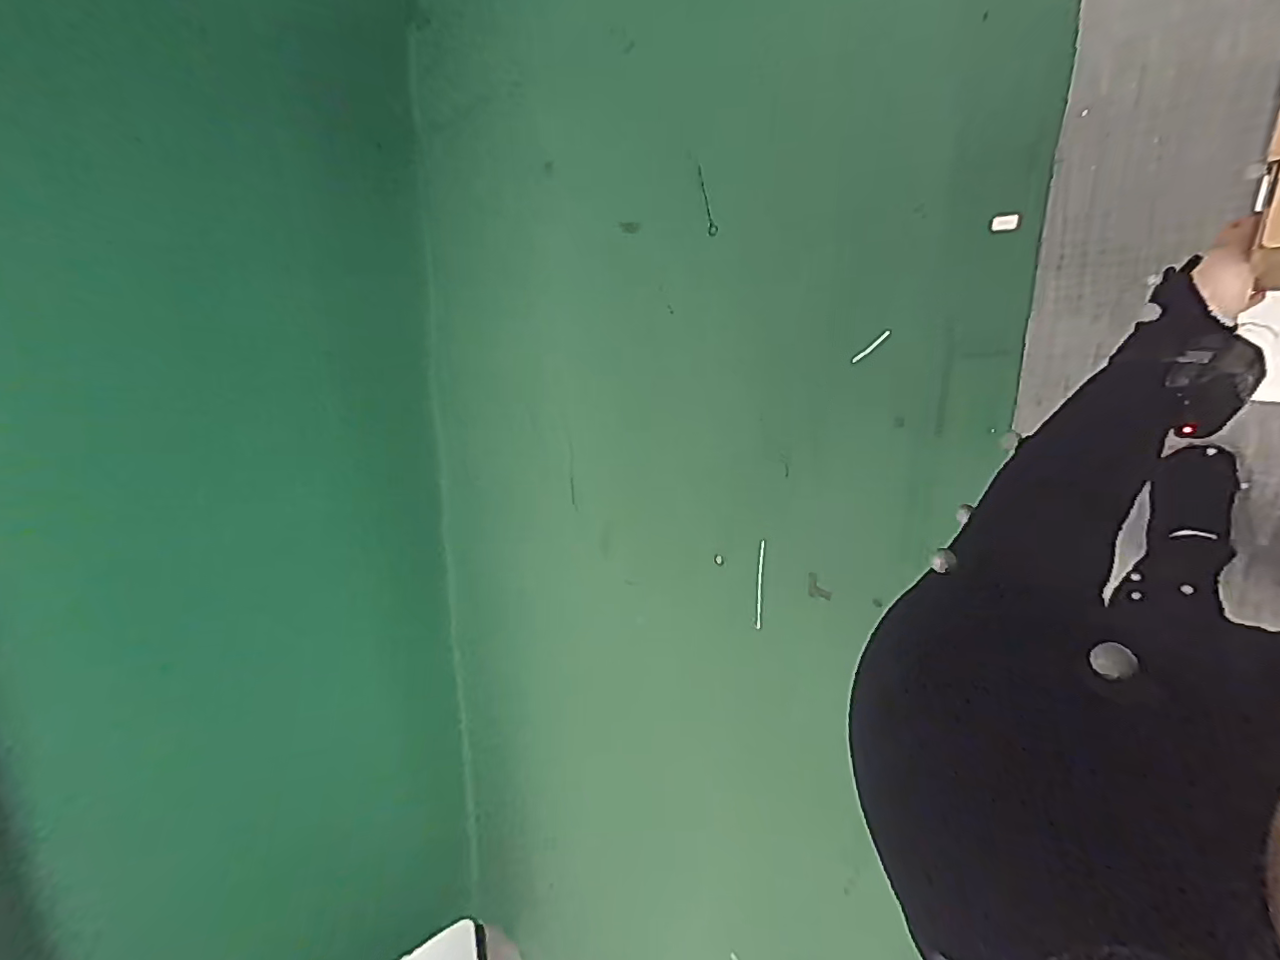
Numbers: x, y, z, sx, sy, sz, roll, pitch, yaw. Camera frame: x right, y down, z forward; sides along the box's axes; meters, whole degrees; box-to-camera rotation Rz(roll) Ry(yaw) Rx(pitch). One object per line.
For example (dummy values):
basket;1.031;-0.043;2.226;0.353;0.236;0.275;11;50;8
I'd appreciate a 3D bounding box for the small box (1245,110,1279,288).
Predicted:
small box;0.560;-0.233;0.367;0.179;0.176;0.168;15;105;46
